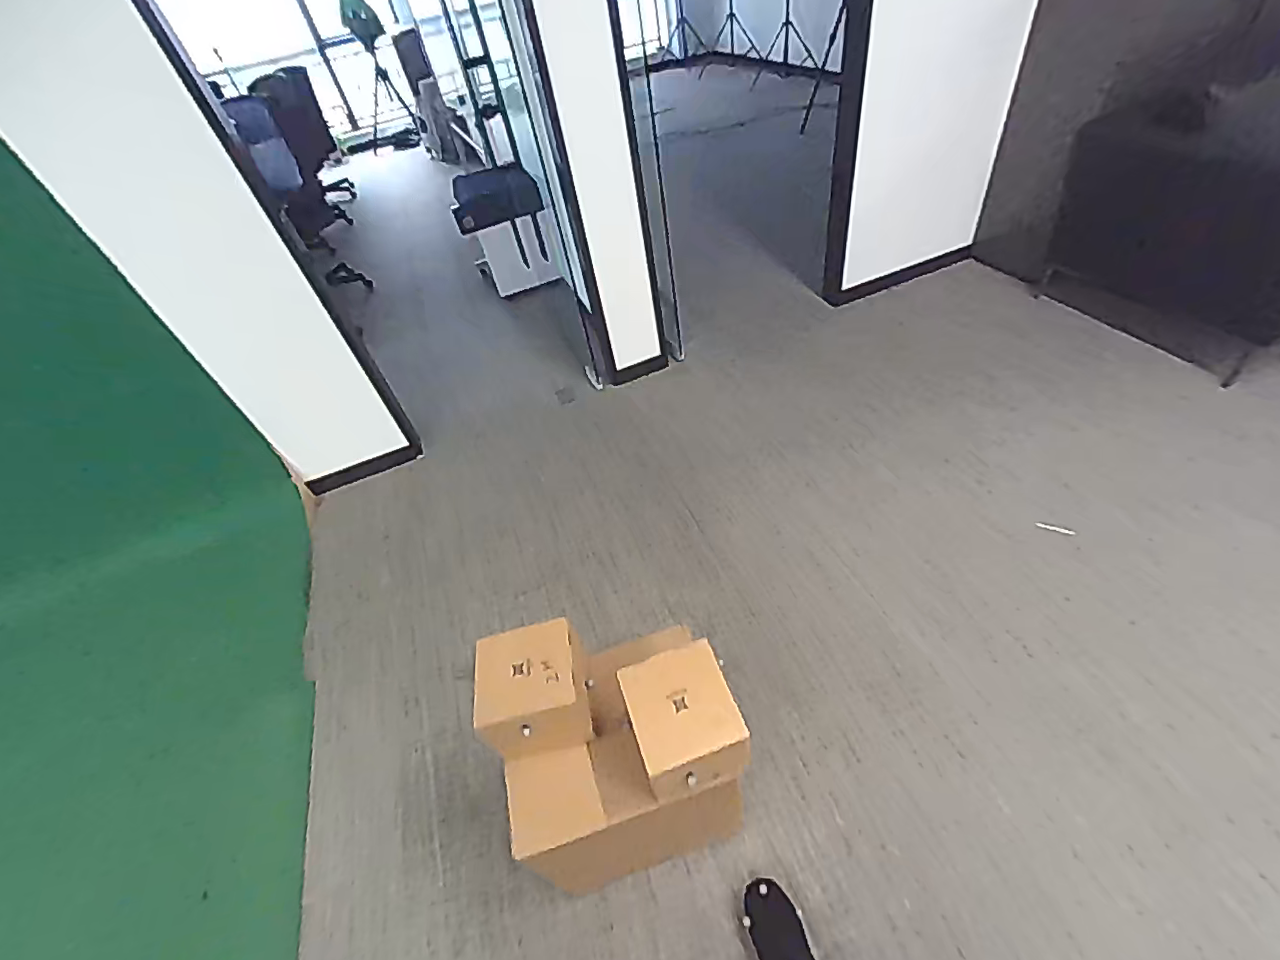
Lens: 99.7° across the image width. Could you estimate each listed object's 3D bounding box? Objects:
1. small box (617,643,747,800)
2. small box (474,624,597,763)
[{"bbox_3d":[0.075,0.416,0.918,0.168,0.176,0.179,-19,45,-7],"label":"small box"},{"bbox_3d":[-0.189,0.397,0.997,0.179,0.176,0.168,-13,44,-2],"label":"small box"}]
